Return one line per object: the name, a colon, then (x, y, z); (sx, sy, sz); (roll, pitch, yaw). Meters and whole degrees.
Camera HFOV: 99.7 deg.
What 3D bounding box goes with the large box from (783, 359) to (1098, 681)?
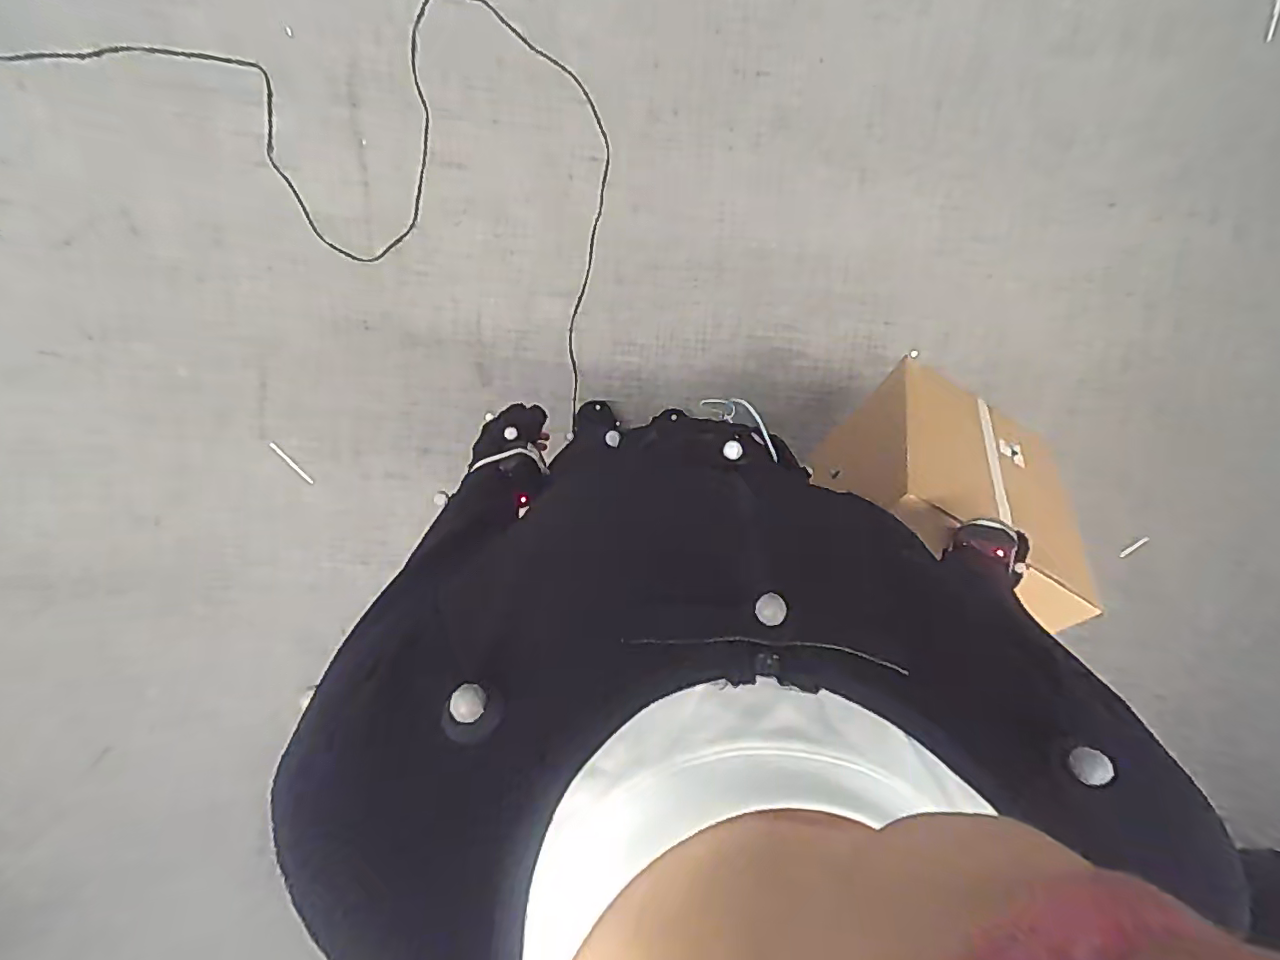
large box: (0.486, 0.065, 0.956); (0.320, 0.408, 0.320); (31, 134, -2)
